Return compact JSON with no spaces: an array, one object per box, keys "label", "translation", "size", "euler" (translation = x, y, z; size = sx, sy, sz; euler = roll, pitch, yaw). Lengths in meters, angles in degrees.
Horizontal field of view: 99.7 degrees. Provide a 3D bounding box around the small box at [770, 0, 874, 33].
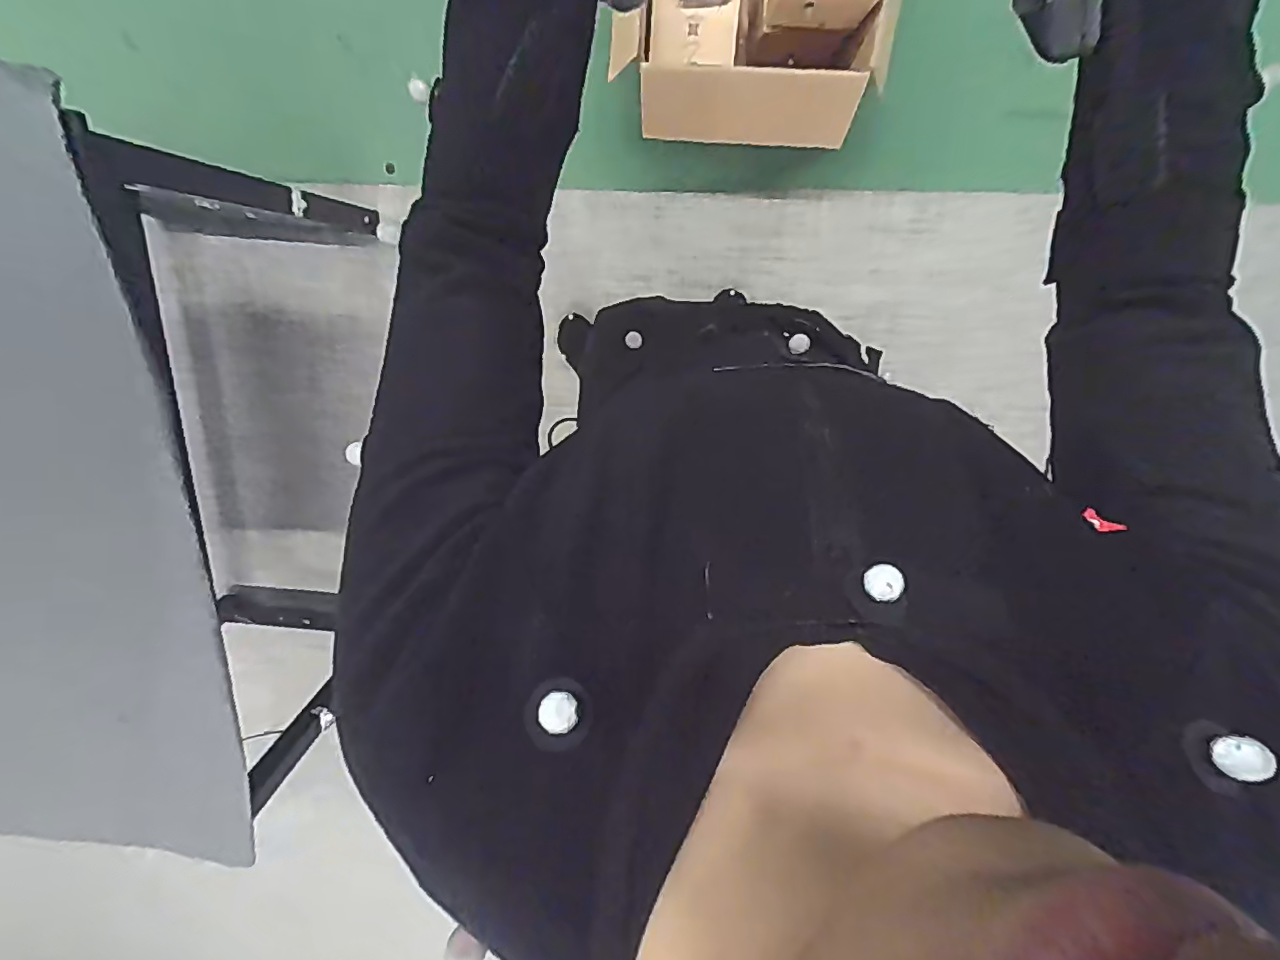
[{"label":"small box","translation":[0.322,-0.887,0.898],"size":[0.168,0.176,0.179],"euler":[6,109,-1]}]
